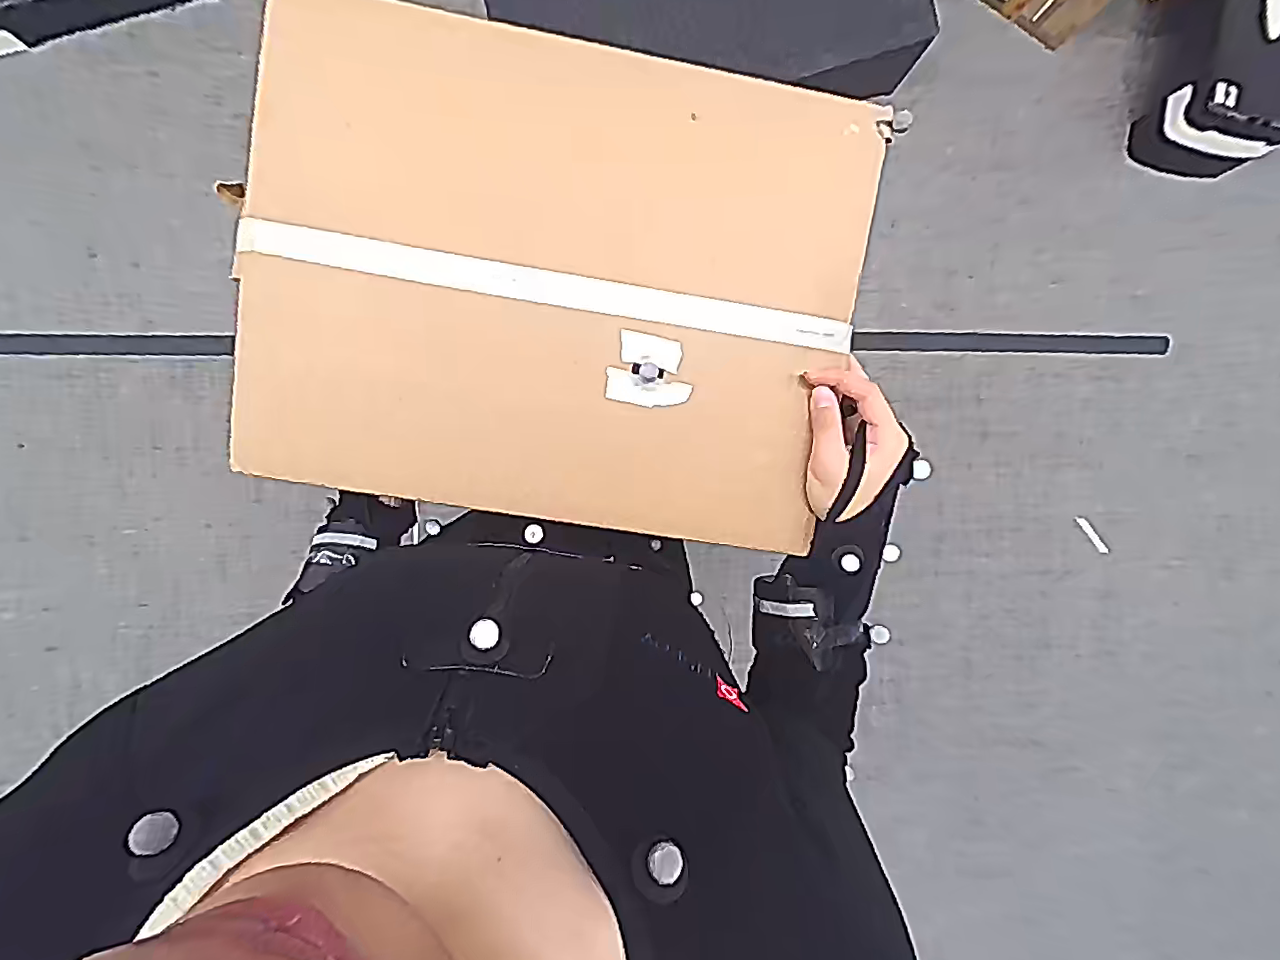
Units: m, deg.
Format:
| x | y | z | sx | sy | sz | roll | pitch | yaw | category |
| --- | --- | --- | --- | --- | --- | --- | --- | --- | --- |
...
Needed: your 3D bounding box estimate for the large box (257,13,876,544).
| x | y | z | sx | sy | sz | roll | pitch | yaw | category |
| --- | --- | --- | --- | --- | --- | --- | --- | --- | --- |
| -0.061 | -0.140 | 0.522 | 0.408 | 0.320 | 0.320 | 8 | 96 | -5 | large box |
